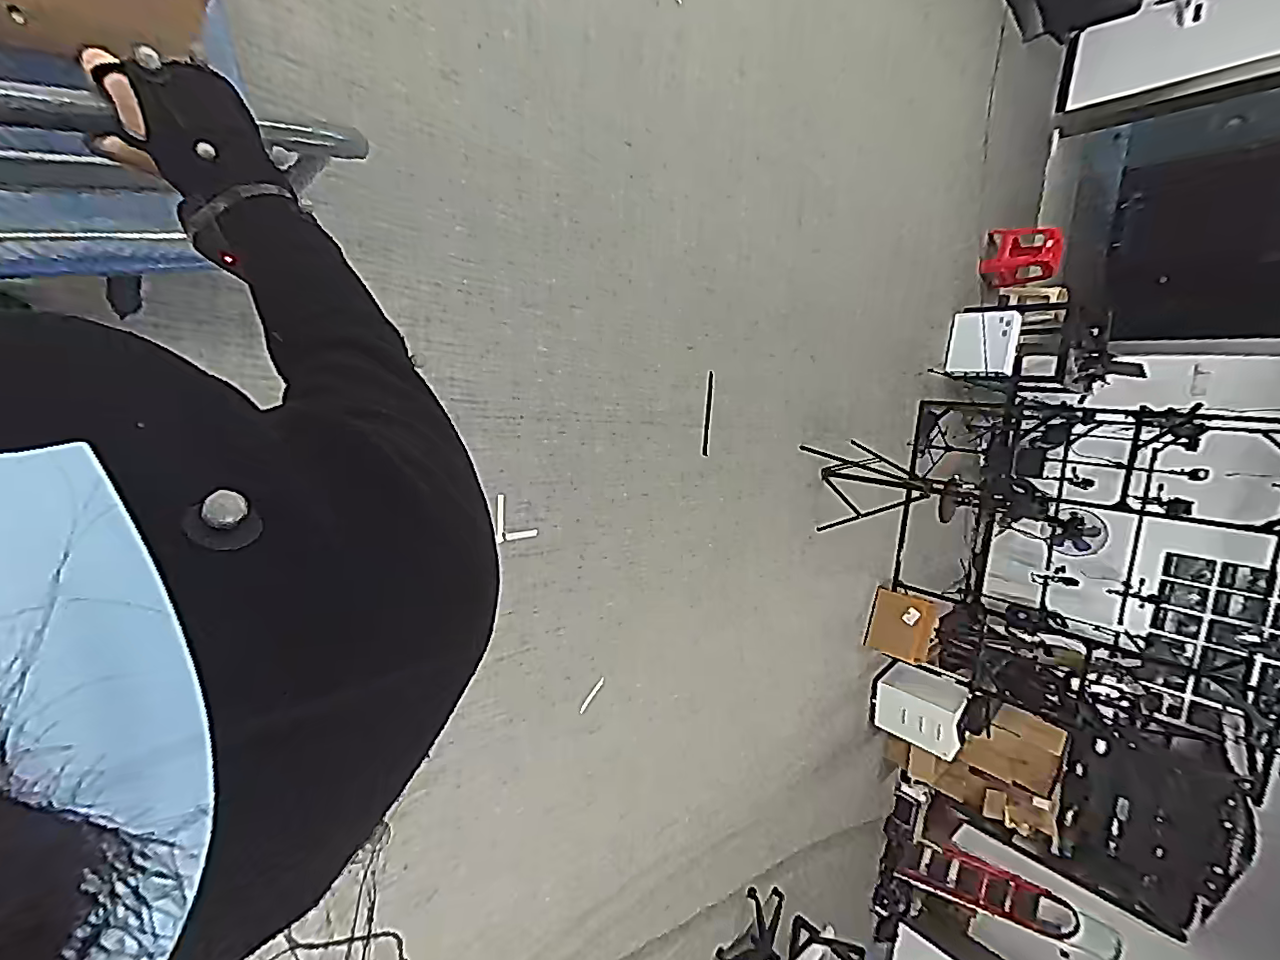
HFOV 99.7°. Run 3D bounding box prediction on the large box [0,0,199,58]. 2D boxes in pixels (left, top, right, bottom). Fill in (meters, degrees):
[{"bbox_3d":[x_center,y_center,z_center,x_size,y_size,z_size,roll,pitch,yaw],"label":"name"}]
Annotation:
[{"bbox_3d":[-0.856,-0.794,0.674,0.408,0.320,0.320,-21,113,-39],"label":"large box"}]
